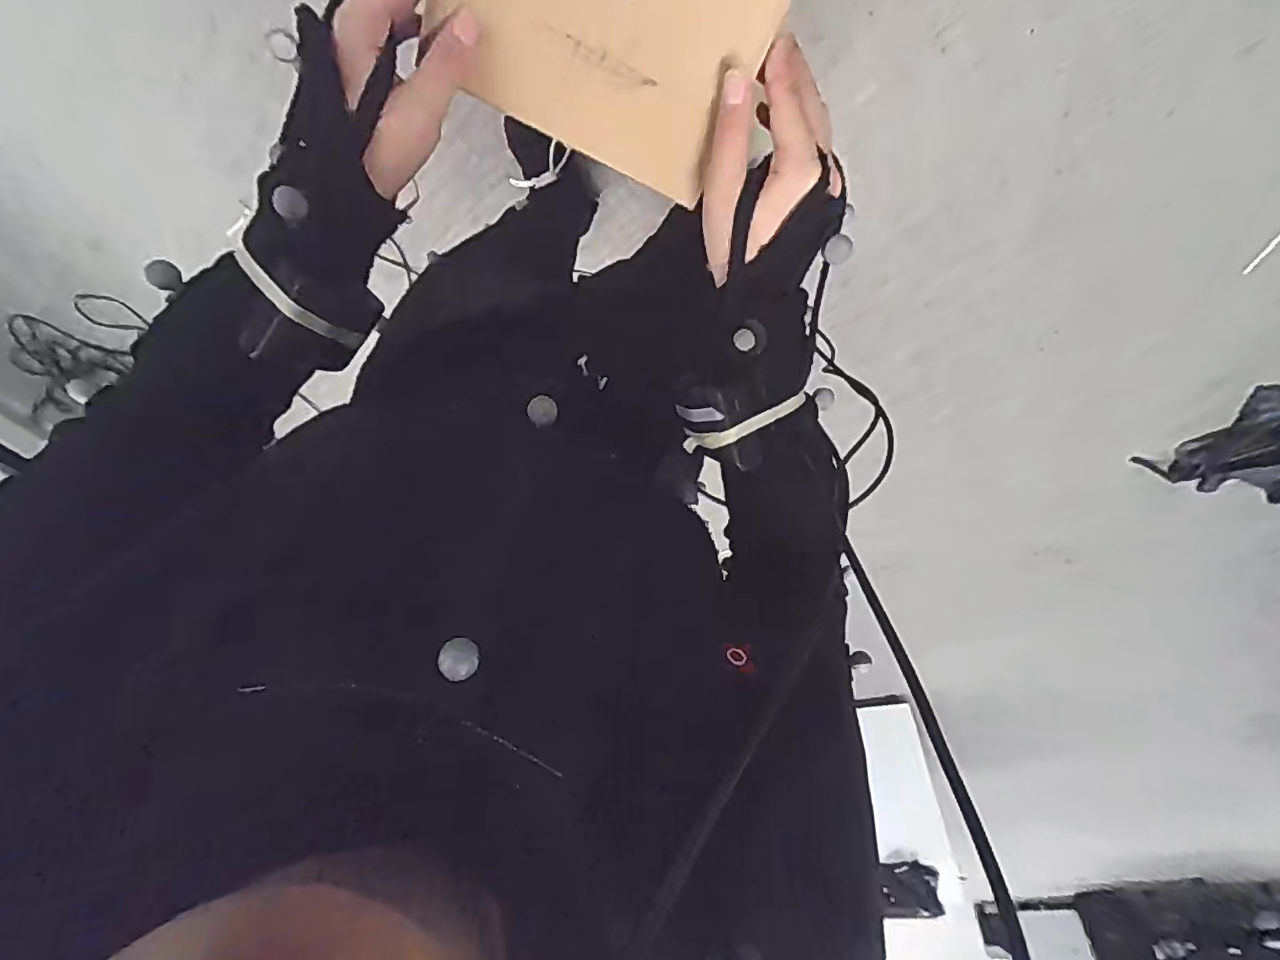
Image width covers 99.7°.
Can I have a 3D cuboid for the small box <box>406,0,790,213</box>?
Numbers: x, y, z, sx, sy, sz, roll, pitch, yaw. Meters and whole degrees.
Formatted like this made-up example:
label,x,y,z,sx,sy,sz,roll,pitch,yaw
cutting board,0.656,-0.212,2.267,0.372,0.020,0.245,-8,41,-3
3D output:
label,x,y,z,sx,sy,sz,roll,pitch,yaw
small box,-0.006,-0.290,0.308,0.168,0.176,0.179,22,125,-11
